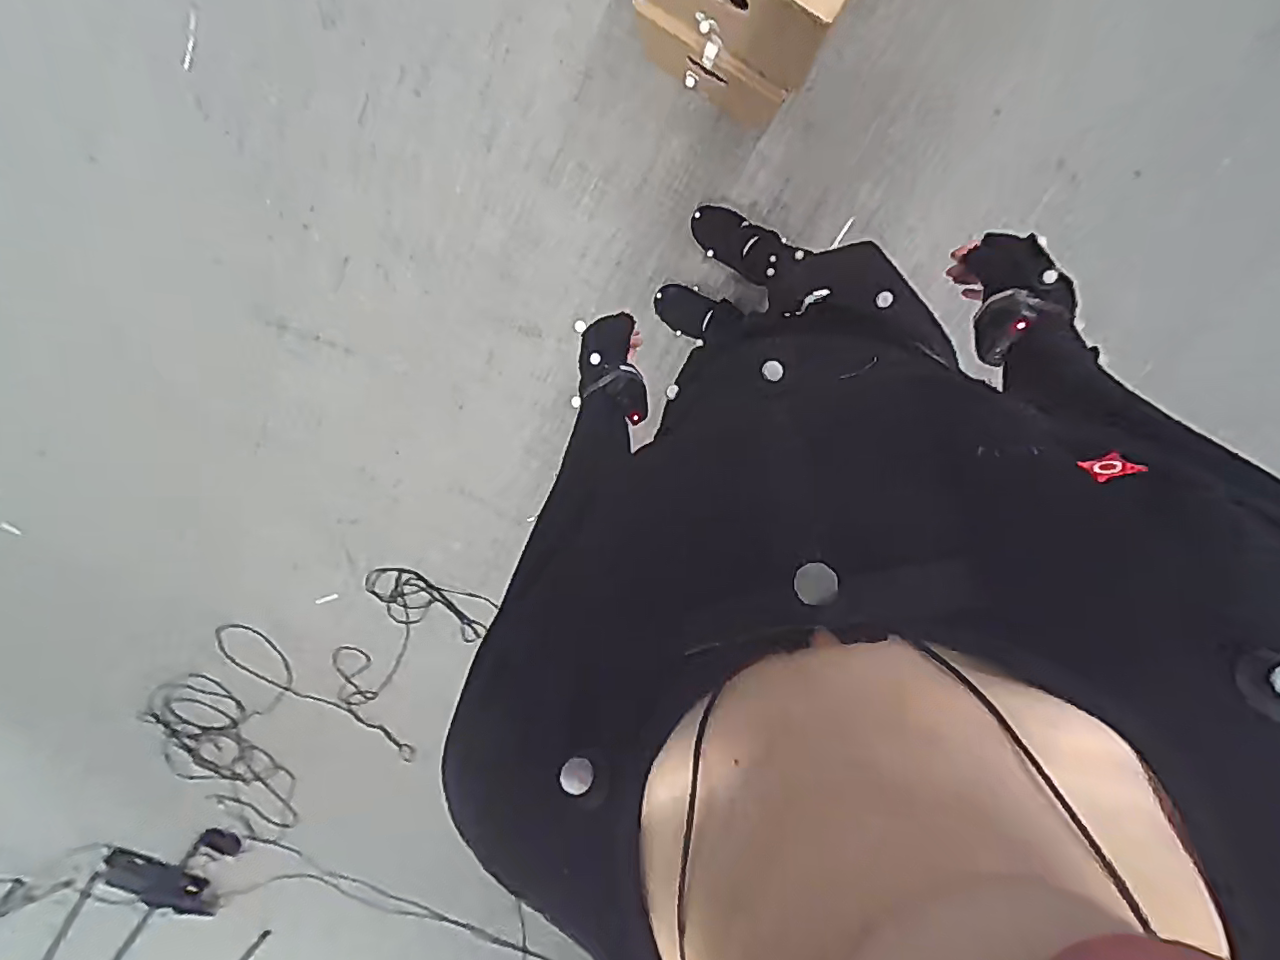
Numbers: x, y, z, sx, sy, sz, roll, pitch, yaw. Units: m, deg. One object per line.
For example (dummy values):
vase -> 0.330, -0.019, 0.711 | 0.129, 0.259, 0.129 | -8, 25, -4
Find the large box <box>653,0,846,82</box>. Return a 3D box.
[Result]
large box -> 0.199, -0.831, 0.679 | 0.320, 0.320, 0.408 | 29, 113, -4
